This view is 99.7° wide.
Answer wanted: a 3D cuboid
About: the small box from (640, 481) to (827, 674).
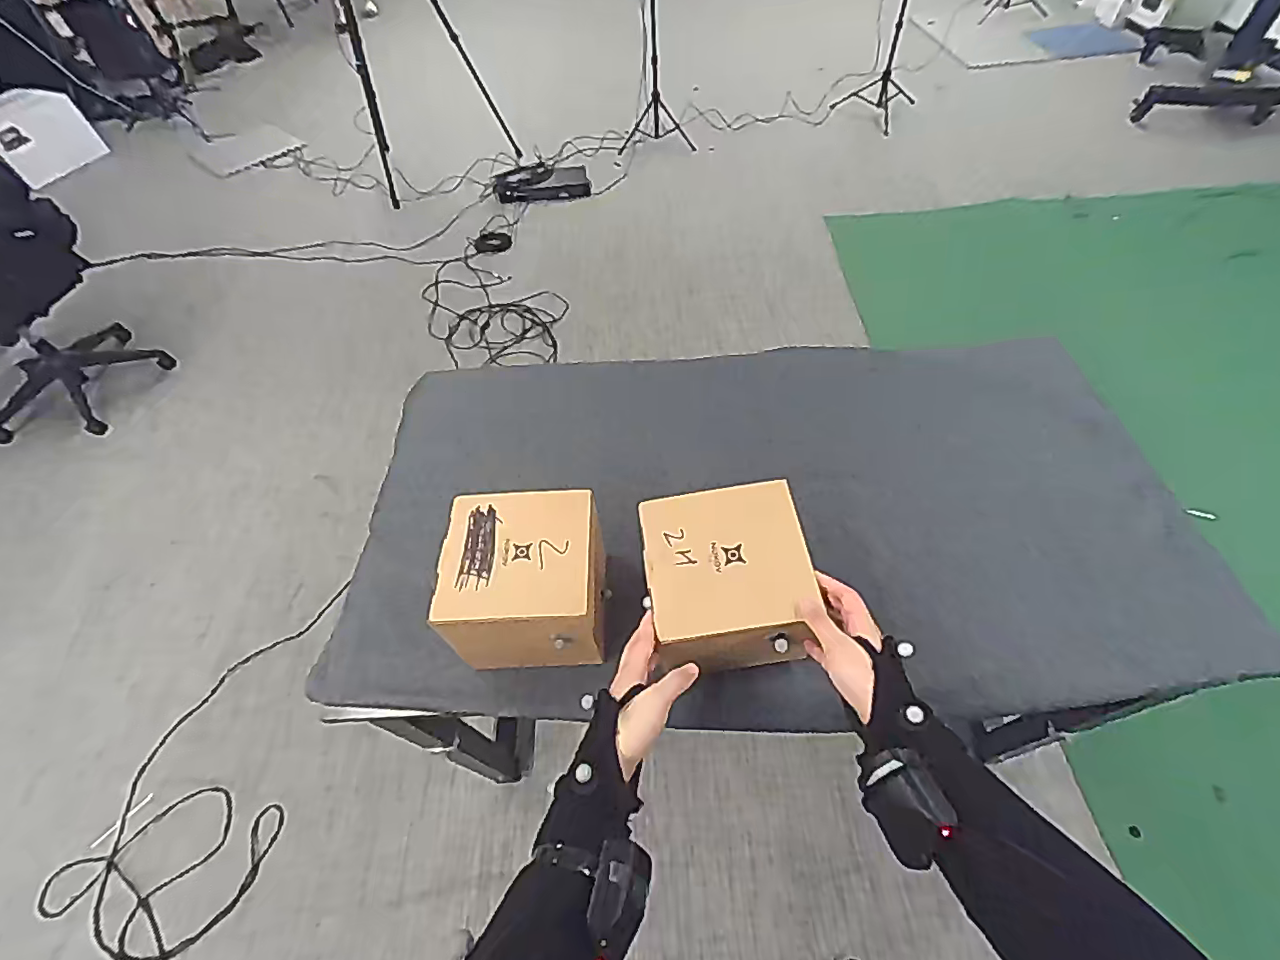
[{"bbox_3d":[0.103,0.123,0.645,0.179,0.176,0.168,-10,58,4],"label":"small box"}]
